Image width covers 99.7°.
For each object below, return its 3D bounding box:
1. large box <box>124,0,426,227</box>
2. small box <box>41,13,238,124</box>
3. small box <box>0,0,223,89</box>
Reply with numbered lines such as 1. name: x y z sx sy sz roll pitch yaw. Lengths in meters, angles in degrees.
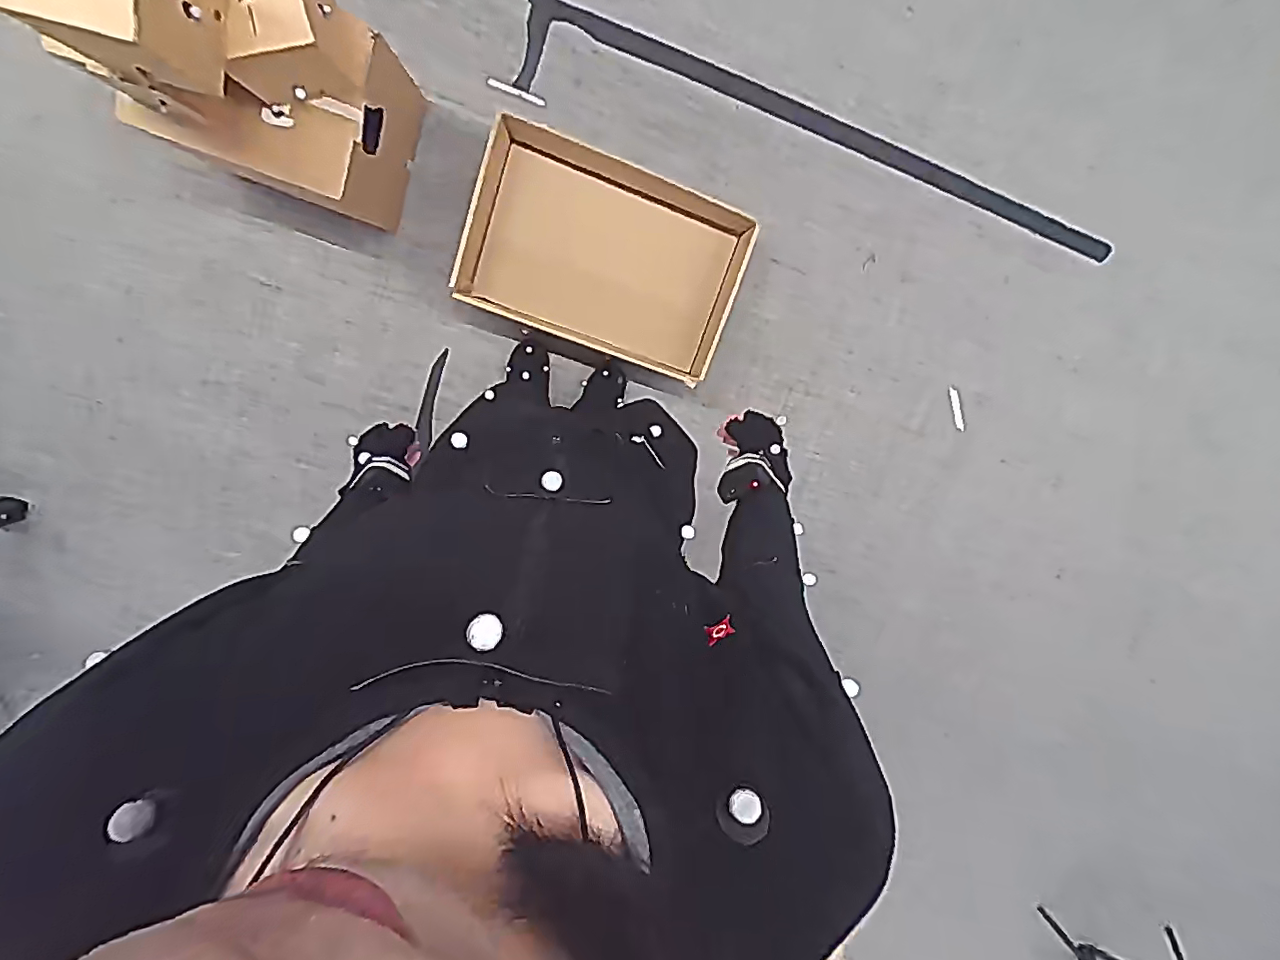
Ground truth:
1. large box: -0.716 -0.774 1.120 0.408 0.320 0.320 17 103 -9
2. small box: -0.795 -0.722 0.876 0.168 0.176 0.179 16 101 -11
3. small box: -0.704 -0.667 0.727 0.179 0.176 0.168 12 103 -7
